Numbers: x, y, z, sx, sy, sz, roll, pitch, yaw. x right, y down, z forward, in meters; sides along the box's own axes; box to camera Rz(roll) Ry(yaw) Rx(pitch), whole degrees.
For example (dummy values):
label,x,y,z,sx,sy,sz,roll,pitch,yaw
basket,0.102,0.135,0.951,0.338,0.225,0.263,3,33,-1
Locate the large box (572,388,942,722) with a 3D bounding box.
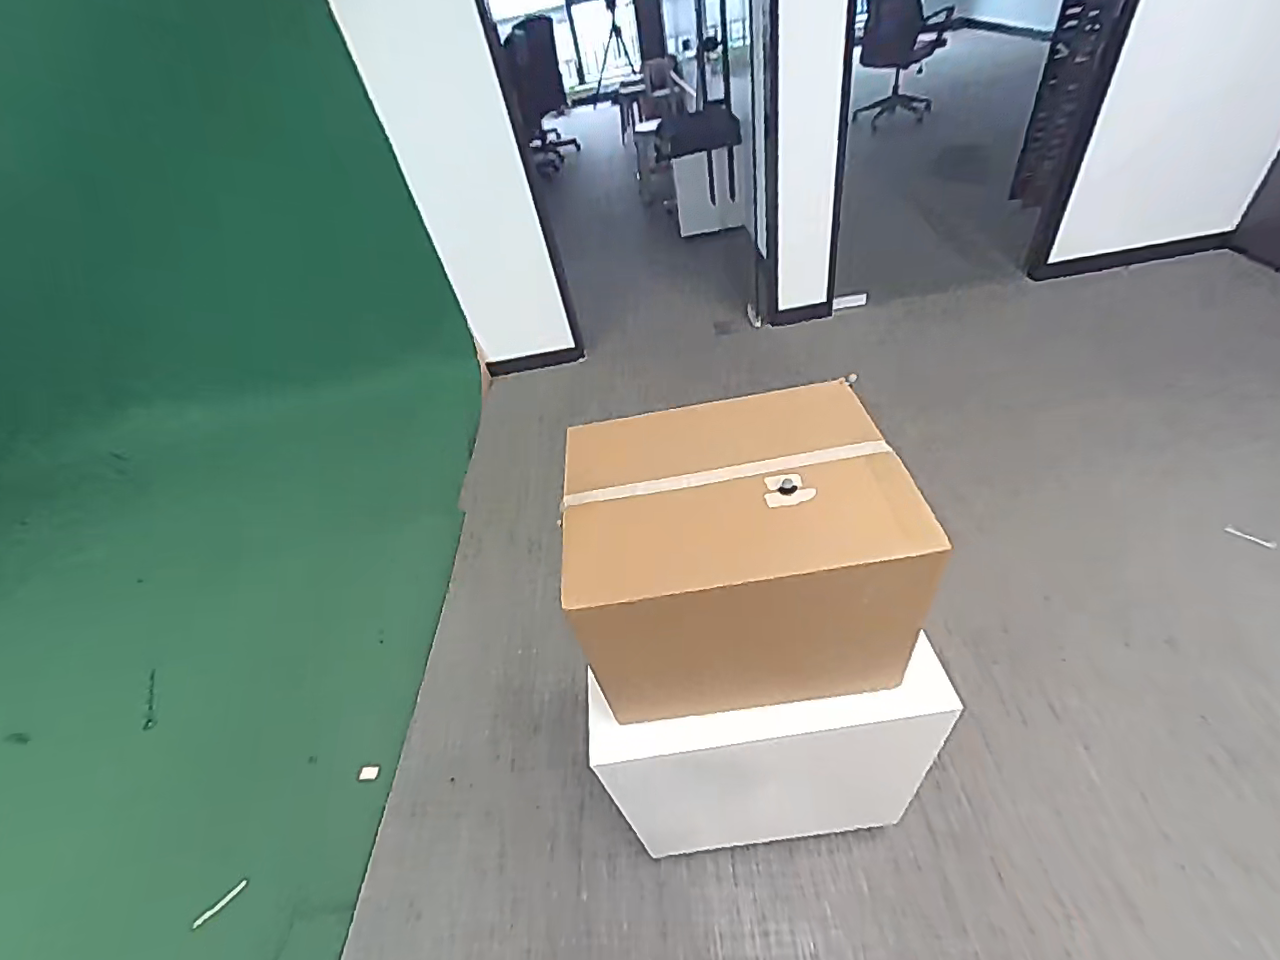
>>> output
label,x,y,z,sx,sy,sz,roll,pitch,yaw
large box,0.129,0.109,0.776,0.408,0.320,0.320,-9,44,3
